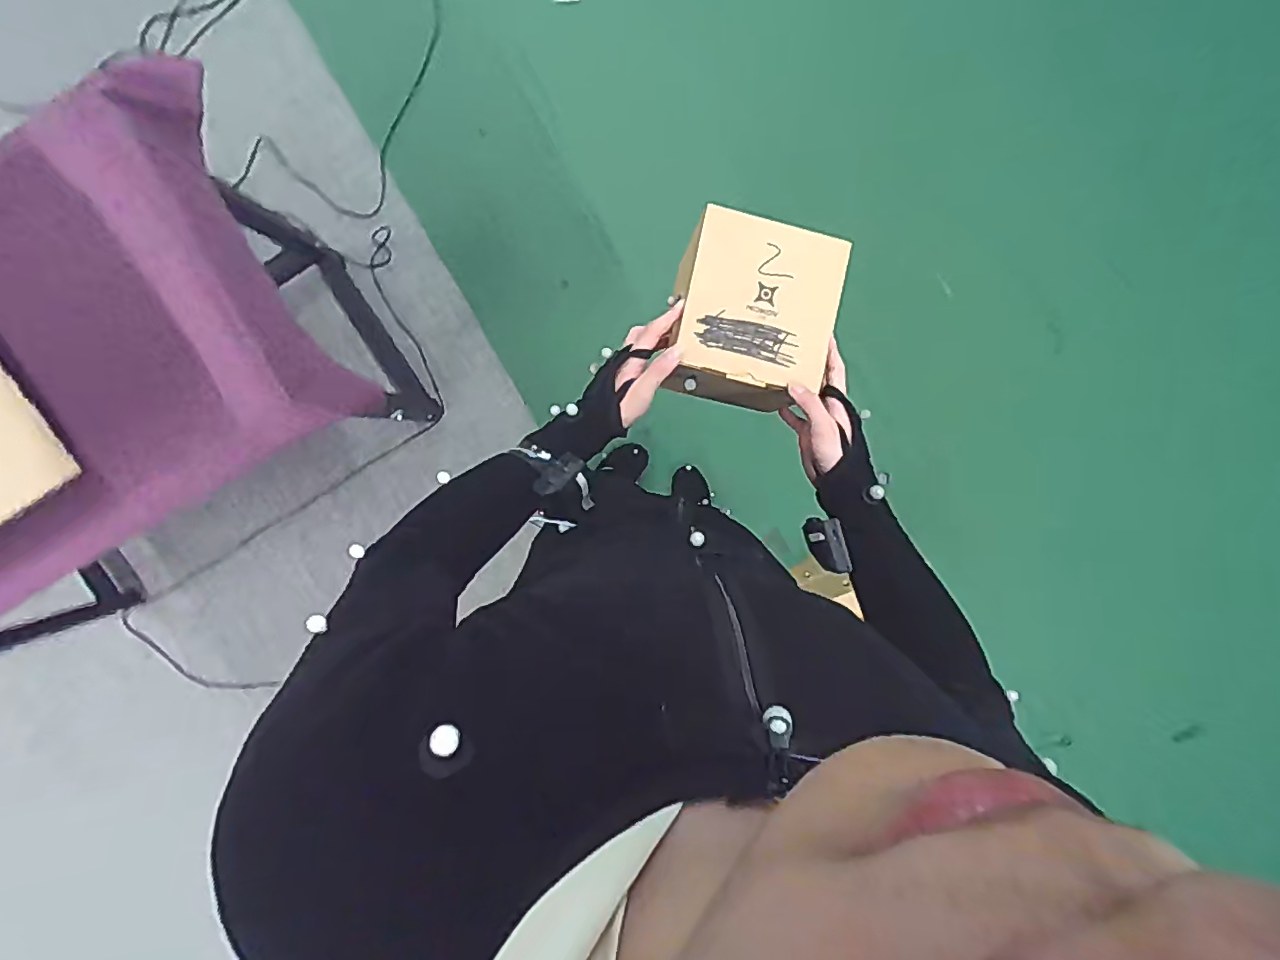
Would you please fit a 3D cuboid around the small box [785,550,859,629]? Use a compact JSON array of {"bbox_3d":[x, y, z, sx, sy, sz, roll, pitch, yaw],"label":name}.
[{"bbox_3d":[0.548,0.322,1.567,0.179,0.176,0.168,-26,94,3],"label":"small box"}]
